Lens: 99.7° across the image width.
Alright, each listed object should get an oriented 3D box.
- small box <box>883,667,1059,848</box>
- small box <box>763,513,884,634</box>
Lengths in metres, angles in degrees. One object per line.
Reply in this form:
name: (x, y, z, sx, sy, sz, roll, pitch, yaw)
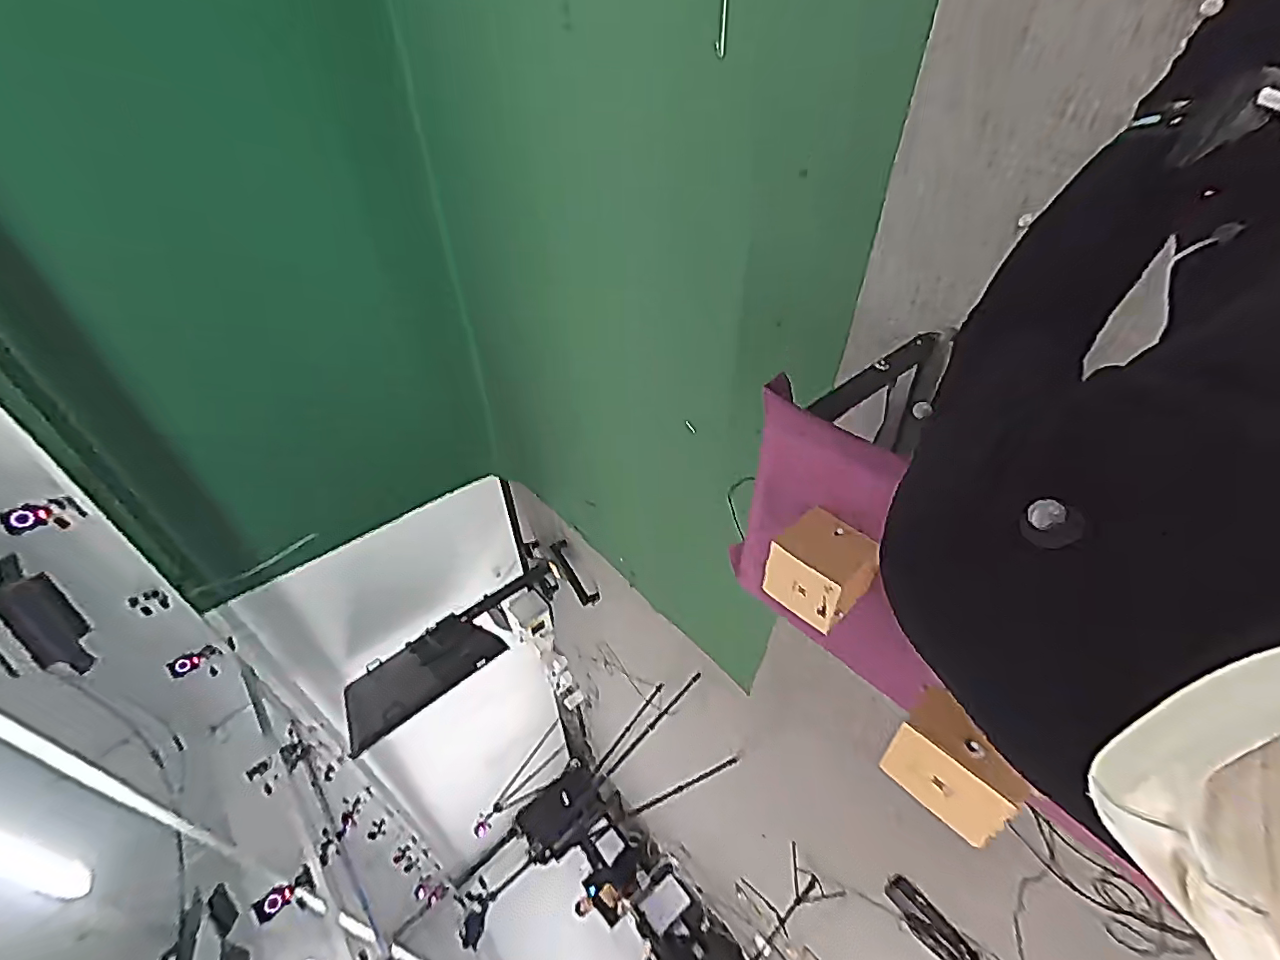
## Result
small box: (0.545, 0.451, 0.898, 0.179, 0.176, 0.168, 35, 141, 36)
small box: (0.404, 0.198, 1.207, 0.179, 0.176, 0.168, 35, 143, 35)
